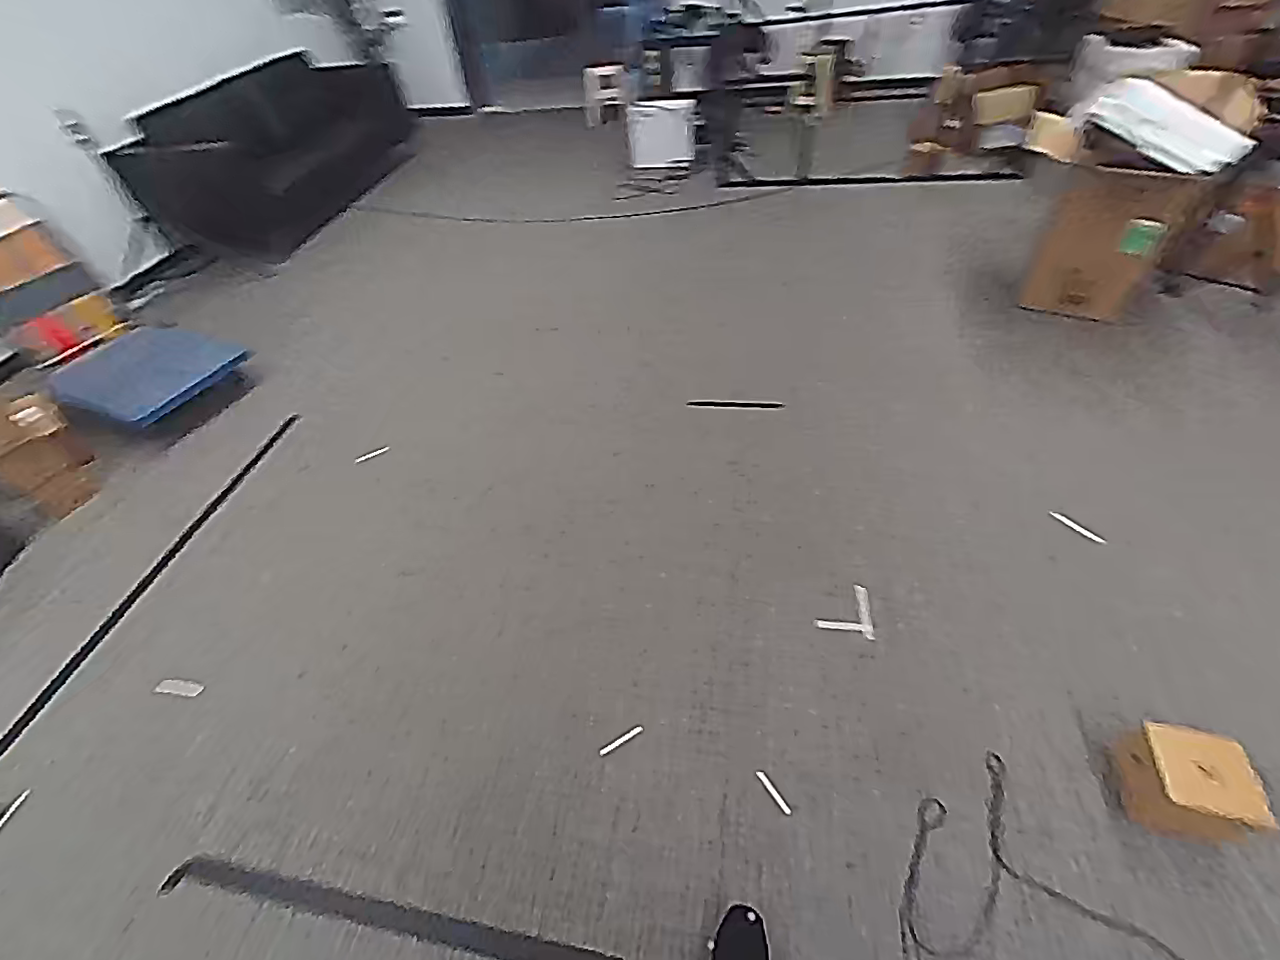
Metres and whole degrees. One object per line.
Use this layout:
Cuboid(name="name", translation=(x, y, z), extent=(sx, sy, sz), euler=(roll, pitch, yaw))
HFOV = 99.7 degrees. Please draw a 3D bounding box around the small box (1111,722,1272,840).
Cuboid(name="small box", translation=(1.184, 0.662, 1.186), extent=(0.179, 0.176, 0.168), euler=(8, 48, 14))
